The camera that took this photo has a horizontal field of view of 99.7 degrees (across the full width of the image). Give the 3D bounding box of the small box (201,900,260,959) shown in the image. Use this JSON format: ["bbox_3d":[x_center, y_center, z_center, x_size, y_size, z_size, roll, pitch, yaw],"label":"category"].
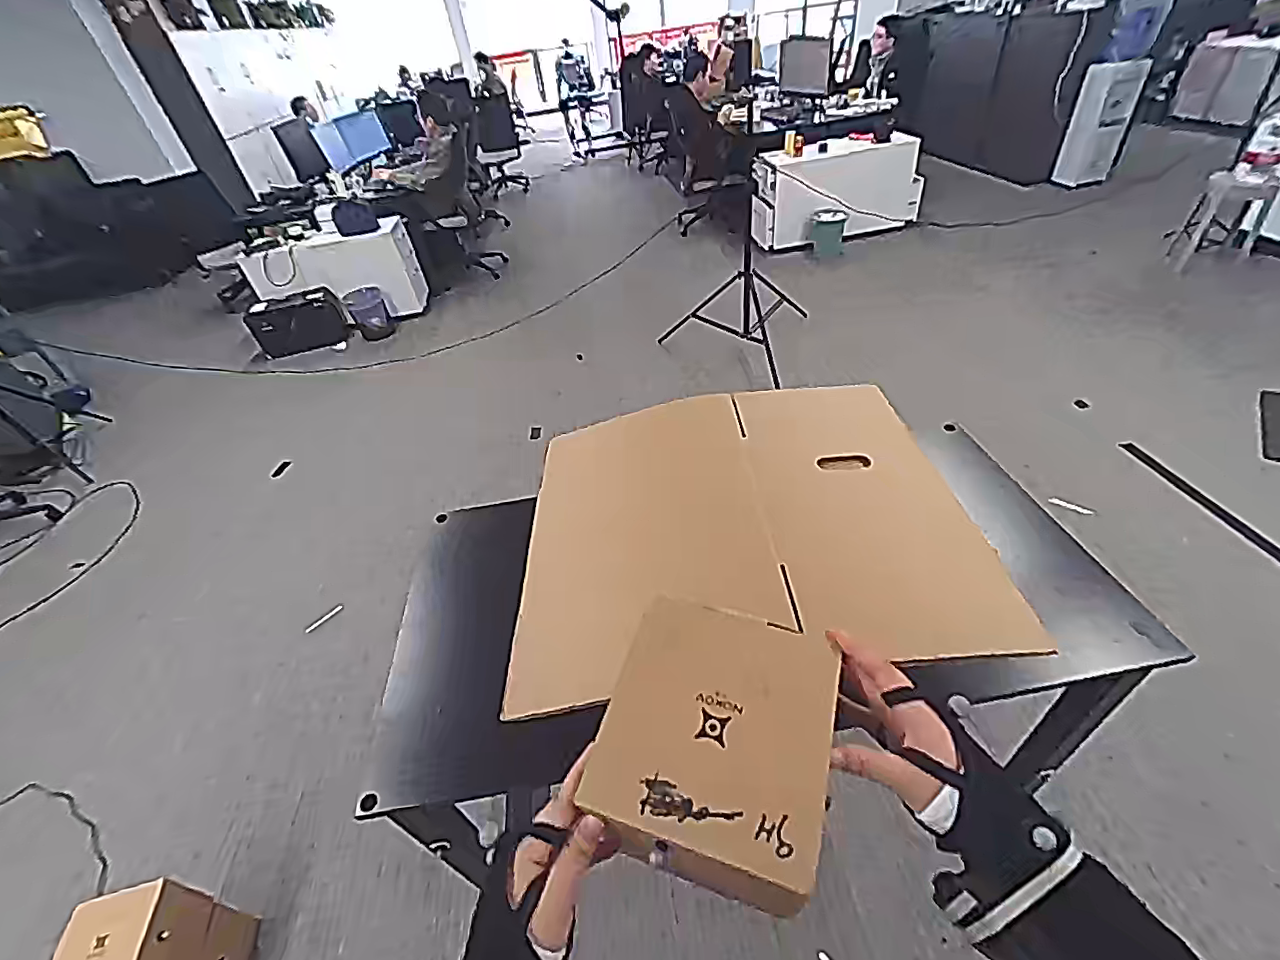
[{"bbox_3d":[-0.974,1.057,1.176,0.168,0.176,0.179,-13,41,-4],"label":"small box"}]

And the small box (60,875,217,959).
[{"bbox_3d":[-0.996,0.932,1.074,0.168,0.176,0.179,-14,40,-7],"label":"small box"}]

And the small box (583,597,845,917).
[{"bbox_3d":[0.070,0.235,0.466,0.168,0.176,0.179,10,49,19],"label":"small box"}]
